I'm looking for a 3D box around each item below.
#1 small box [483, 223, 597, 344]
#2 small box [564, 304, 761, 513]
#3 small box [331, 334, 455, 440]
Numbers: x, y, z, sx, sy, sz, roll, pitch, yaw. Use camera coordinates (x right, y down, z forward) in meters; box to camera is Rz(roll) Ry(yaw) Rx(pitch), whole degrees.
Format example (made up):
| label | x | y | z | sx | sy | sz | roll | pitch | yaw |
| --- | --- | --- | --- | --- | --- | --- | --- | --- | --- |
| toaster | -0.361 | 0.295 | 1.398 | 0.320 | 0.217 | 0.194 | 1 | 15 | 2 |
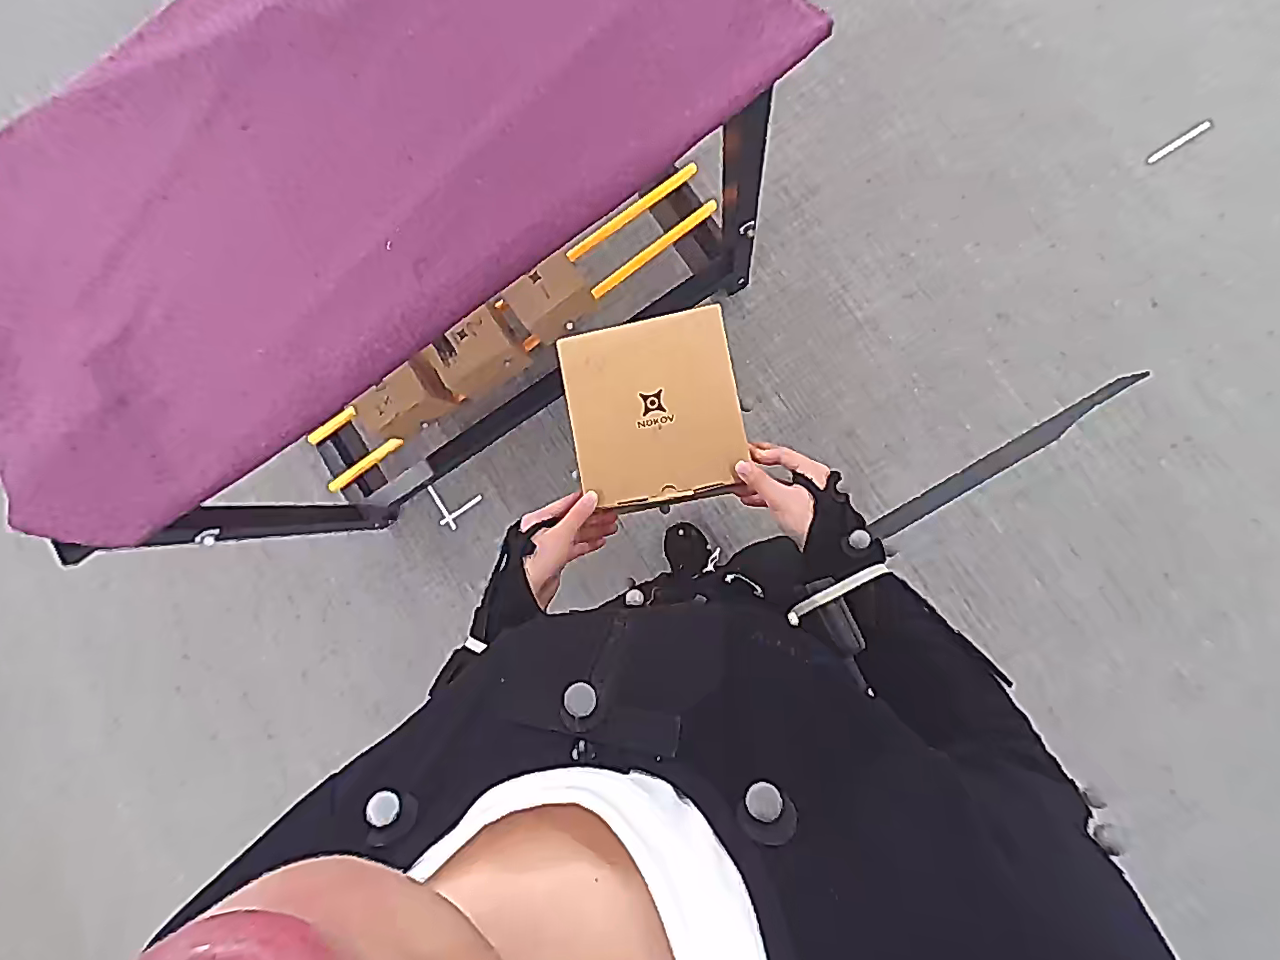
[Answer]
| label | x | y | z | sx | sy | sz | roll | pitch | yaw |
| --- | --- | --- | --- | --- | --- | --- | --- | --- | --- |
| small box | -0.222 | -0.442 | 1.248 | 0.168 | 0.176 | 0.179 | -35 | 86 | 6 |
| small box | 0.025 | -0.063 | 0.589 | 0.168 | 0.176 | 0.179 | -11 | 85 | 5 |
| small box | -0.577 | -0.210 | 1.283 | 0.168 | 0.176 | 0.179 | -33 | 86 | 5 |
